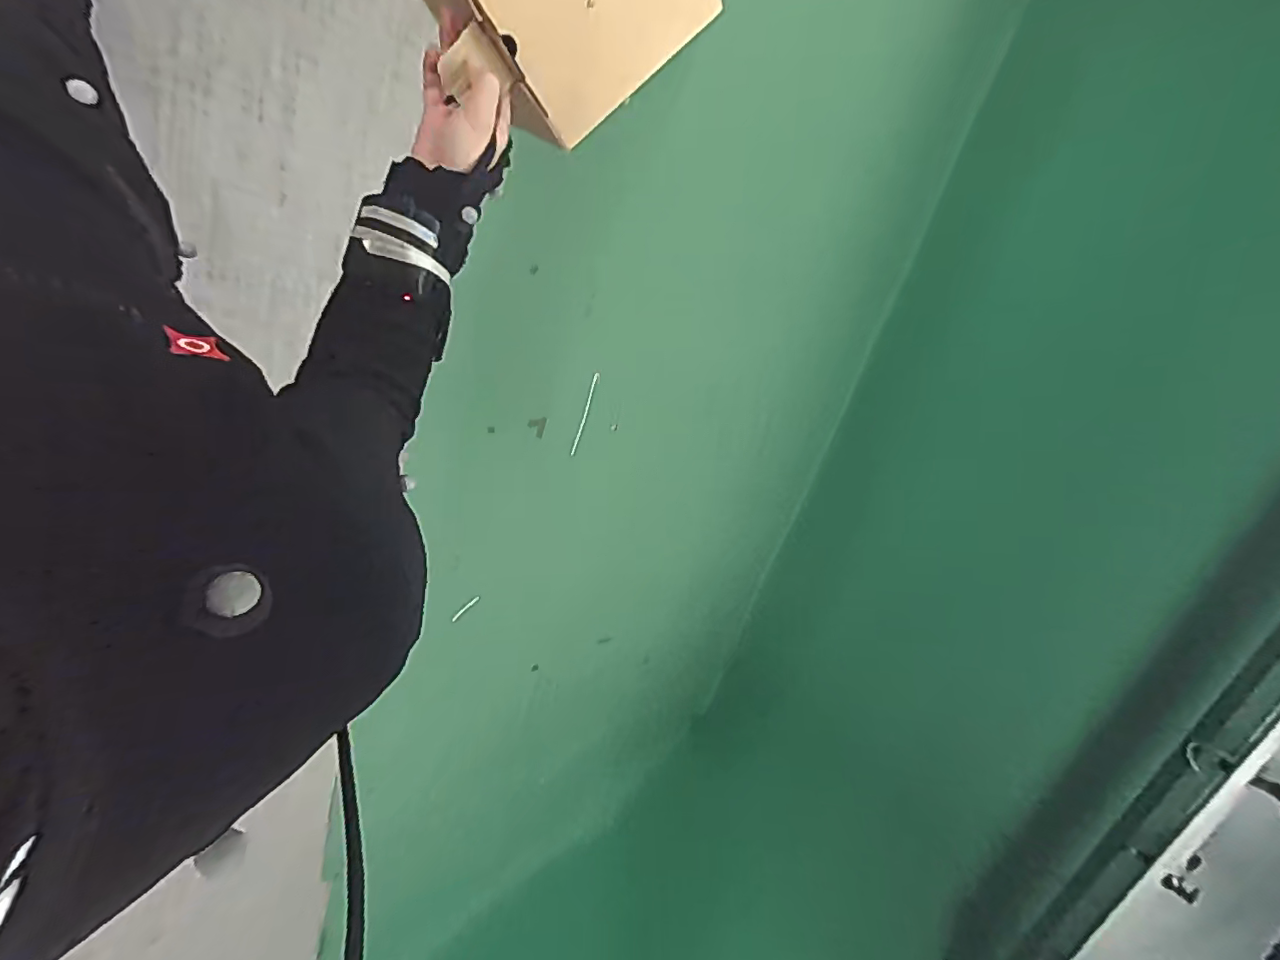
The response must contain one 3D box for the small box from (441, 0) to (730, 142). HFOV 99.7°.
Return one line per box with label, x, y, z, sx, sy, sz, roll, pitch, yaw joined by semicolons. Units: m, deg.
small box;-0.062;-0.418;0.430;0.179;0.176;0.168;-41;140;4
